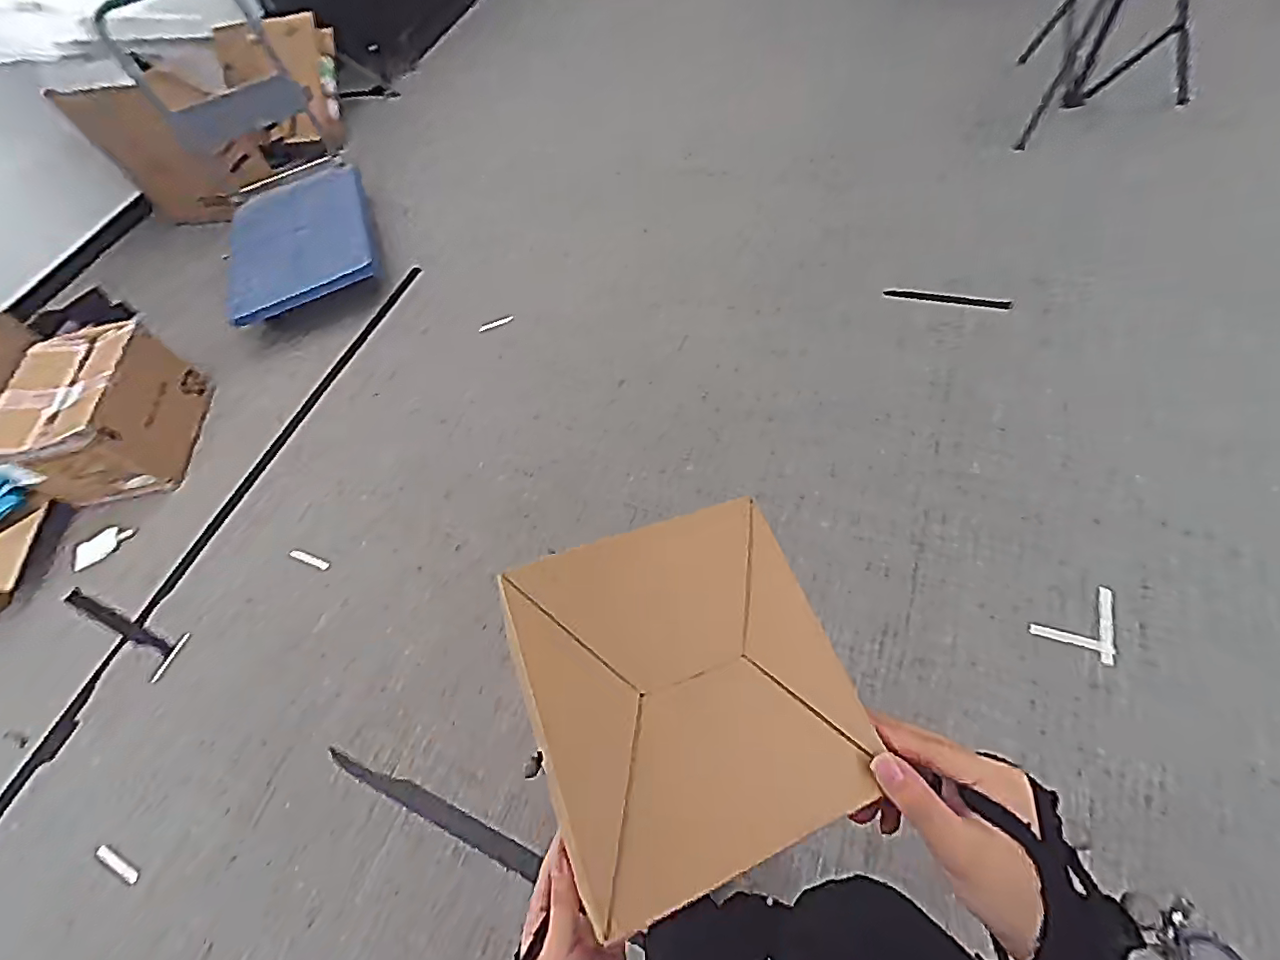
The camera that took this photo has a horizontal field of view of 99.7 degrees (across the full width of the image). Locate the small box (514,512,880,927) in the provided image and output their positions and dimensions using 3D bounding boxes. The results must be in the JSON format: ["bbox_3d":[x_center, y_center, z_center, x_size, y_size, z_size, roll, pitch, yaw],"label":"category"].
[{"bbox_3d":[0.019,0.142,0.357,0.168,0.176,0.179,-14,65,-18],"label":"small box"}]
